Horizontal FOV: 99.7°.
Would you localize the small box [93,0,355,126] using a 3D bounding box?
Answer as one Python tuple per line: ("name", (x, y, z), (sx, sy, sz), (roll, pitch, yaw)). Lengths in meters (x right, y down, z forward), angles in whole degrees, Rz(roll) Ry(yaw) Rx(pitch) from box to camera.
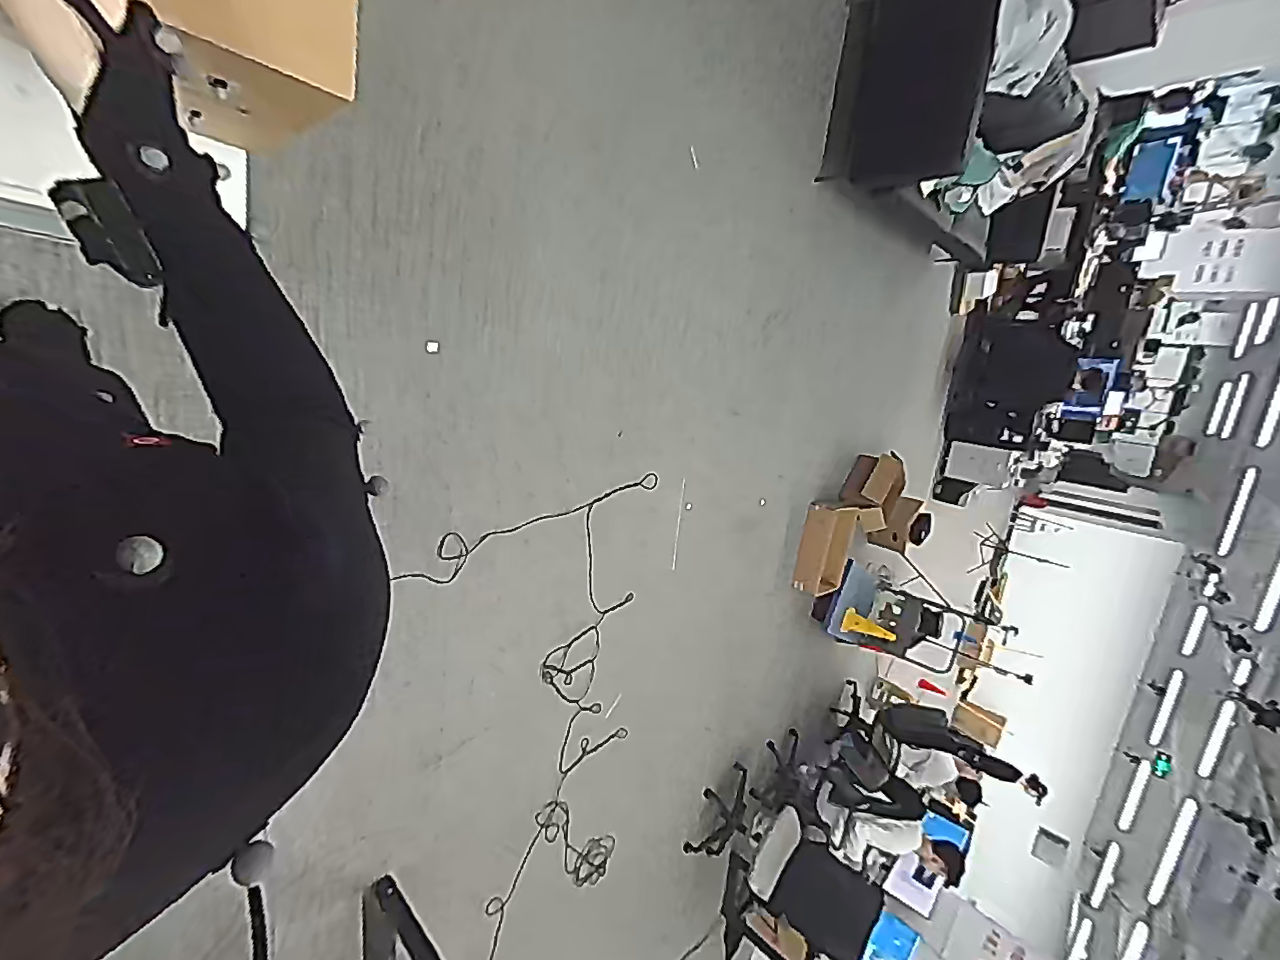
("small box", (-0.372, -0.452, 0.484), (0.168, 0.176, 0.179), (-4, 107, -47))
